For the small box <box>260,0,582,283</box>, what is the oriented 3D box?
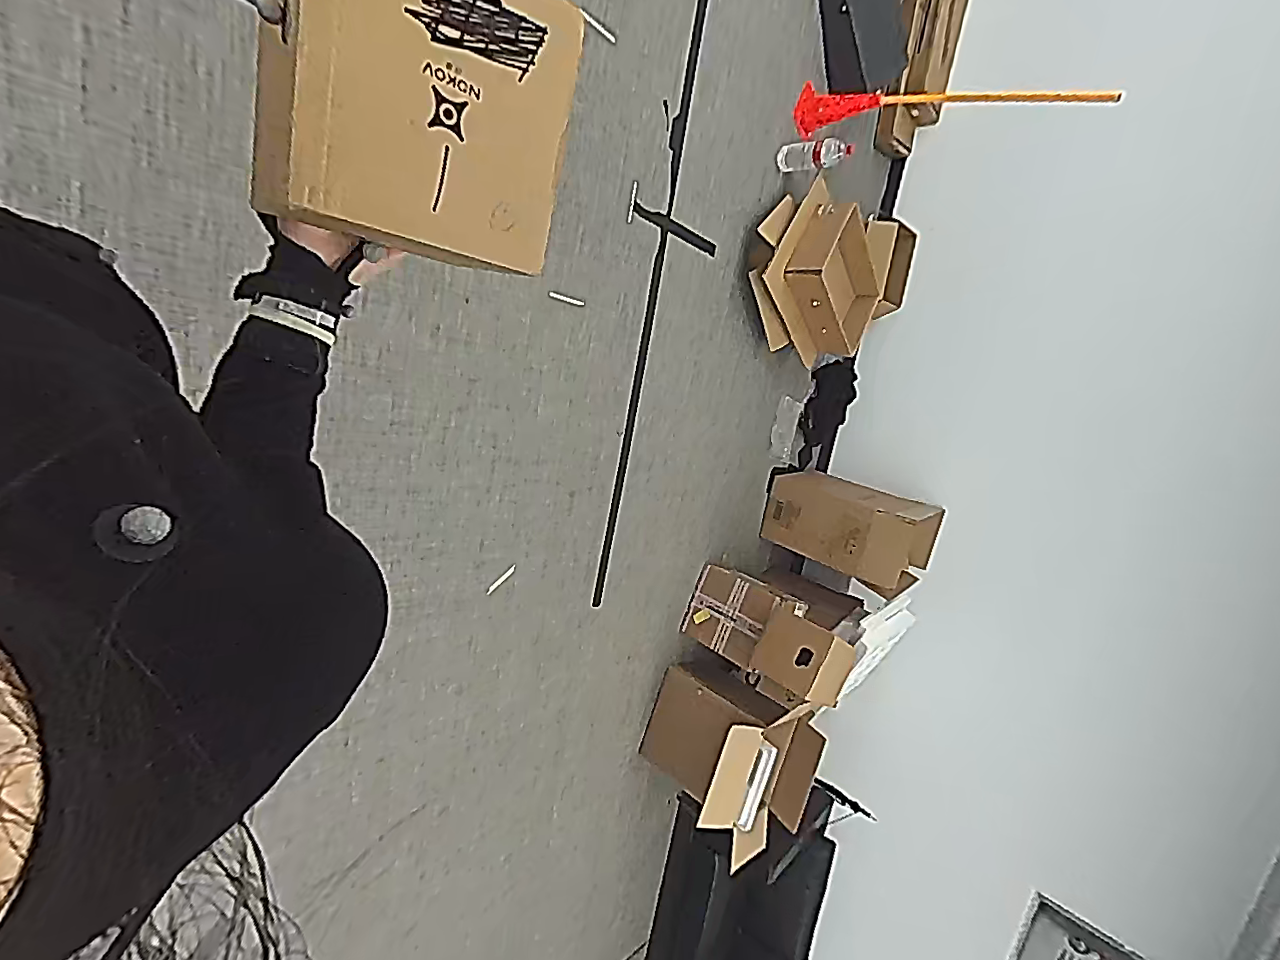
[{"bbox_3d":[-0.170,-0.262,0.401,0.168,0.176,0.179,0,110,-42],"label":"small box"}]
